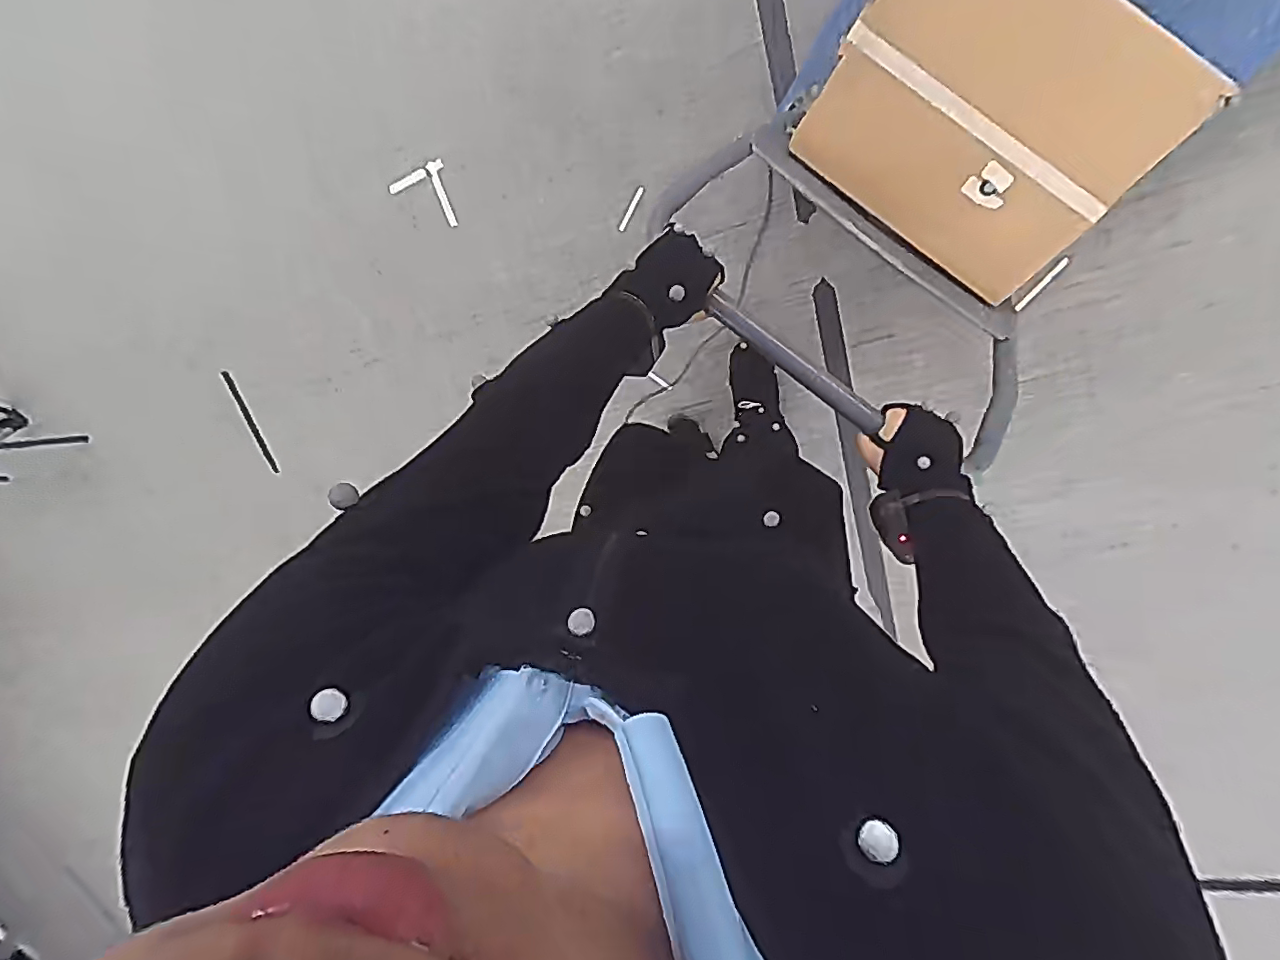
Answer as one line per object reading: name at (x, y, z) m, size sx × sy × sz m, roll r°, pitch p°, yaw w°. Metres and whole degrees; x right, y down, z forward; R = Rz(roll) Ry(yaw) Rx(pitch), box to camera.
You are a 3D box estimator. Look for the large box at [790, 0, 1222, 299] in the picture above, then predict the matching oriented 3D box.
large box at (0.511, -0.564, 0.836) m, size 0.408 × 0.320 × 0.320 m, roll 36°, pitch 135°, yaw -1°
